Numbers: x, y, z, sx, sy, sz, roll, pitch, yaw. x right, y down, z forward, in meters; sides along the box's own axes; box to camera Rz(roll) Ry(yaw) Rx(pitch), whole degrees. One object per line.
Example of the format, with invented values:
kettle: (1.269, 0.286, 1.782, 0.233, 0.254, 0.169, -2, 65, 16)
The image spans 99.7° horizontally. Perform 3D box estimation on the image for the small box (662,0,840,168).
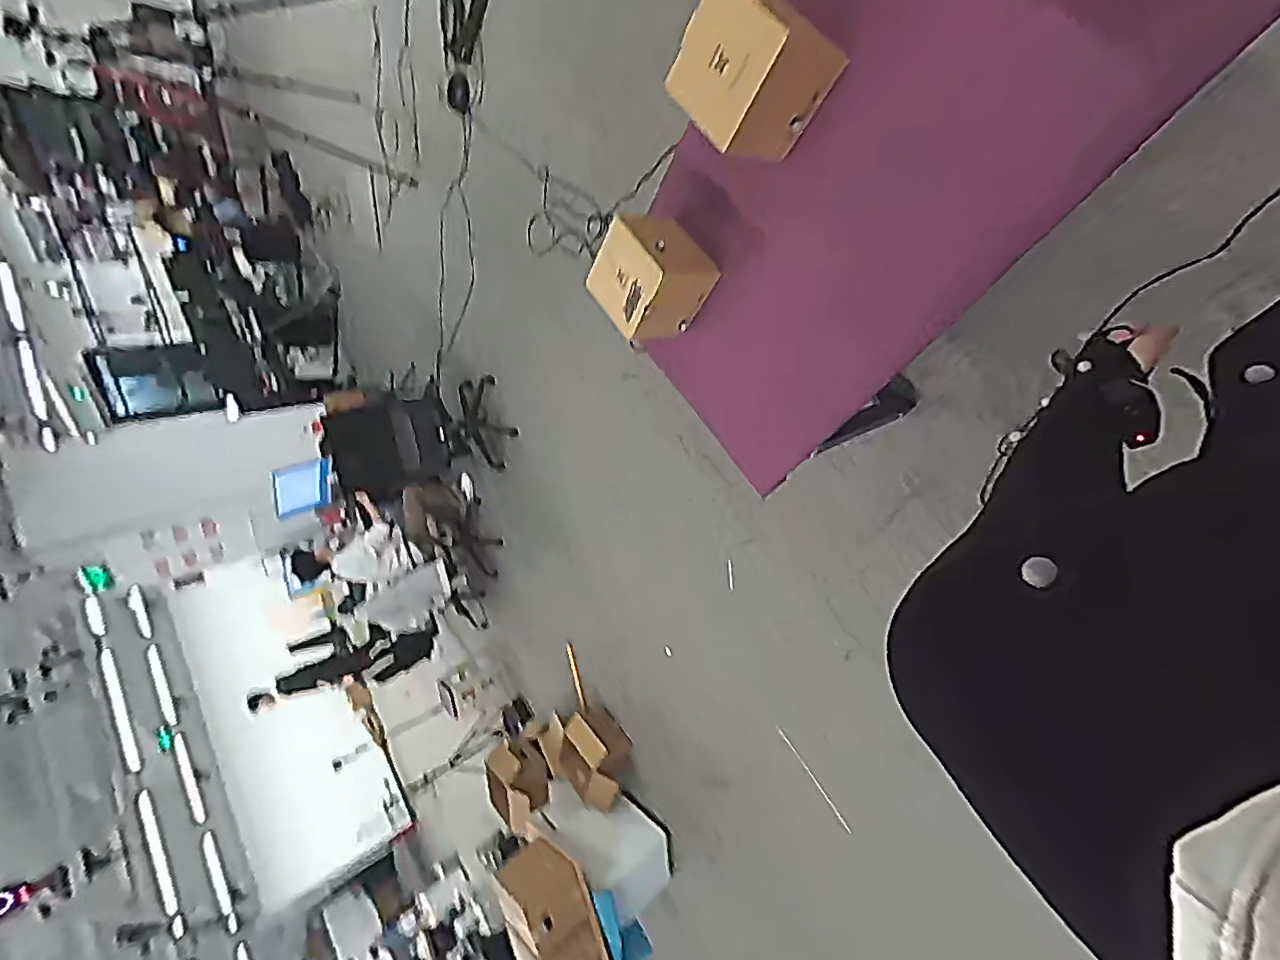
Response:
small box: (0.173, -0.622, 0.855, 0.179, 0.176, 0.168, 55, 139, 15)

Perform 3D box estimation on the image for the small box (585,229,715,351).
small box: (0.023, -0.396, 1.117, 0.179, 0.176, 0.168, 54, 138, 17)
